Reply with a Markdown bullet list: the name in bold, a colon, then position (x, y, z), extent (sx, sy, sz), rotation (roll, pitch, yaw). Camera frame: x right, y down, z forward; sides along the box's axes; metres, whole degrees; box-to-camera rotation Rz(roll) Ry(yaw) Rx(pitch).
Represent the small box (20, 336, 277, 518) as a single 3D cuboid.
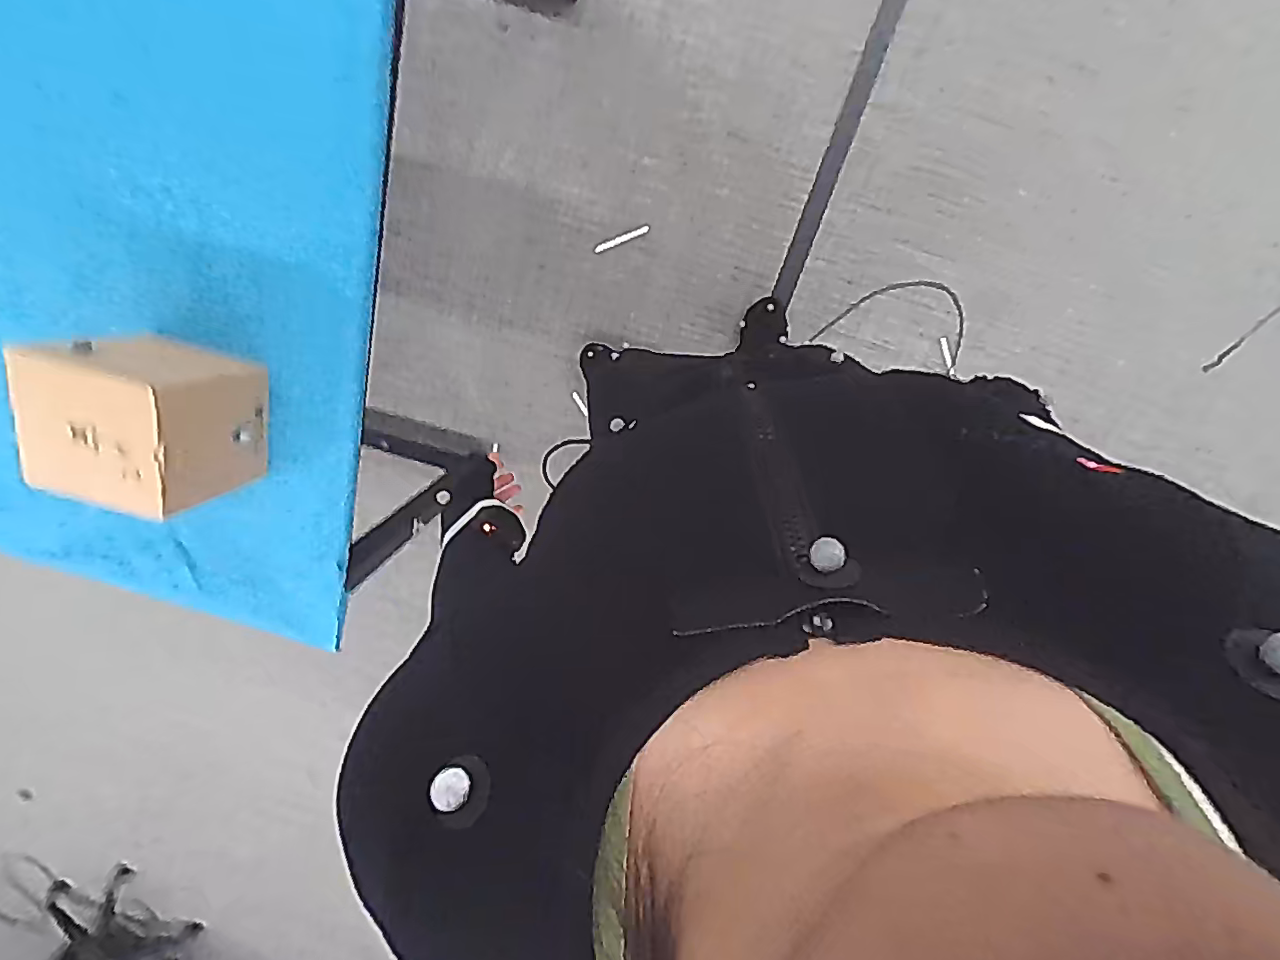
- **small box**: position (-0.615, -0.079, 0.697), extent (0.179, 0.176, 0.168), rotation (18, 111, -3)
